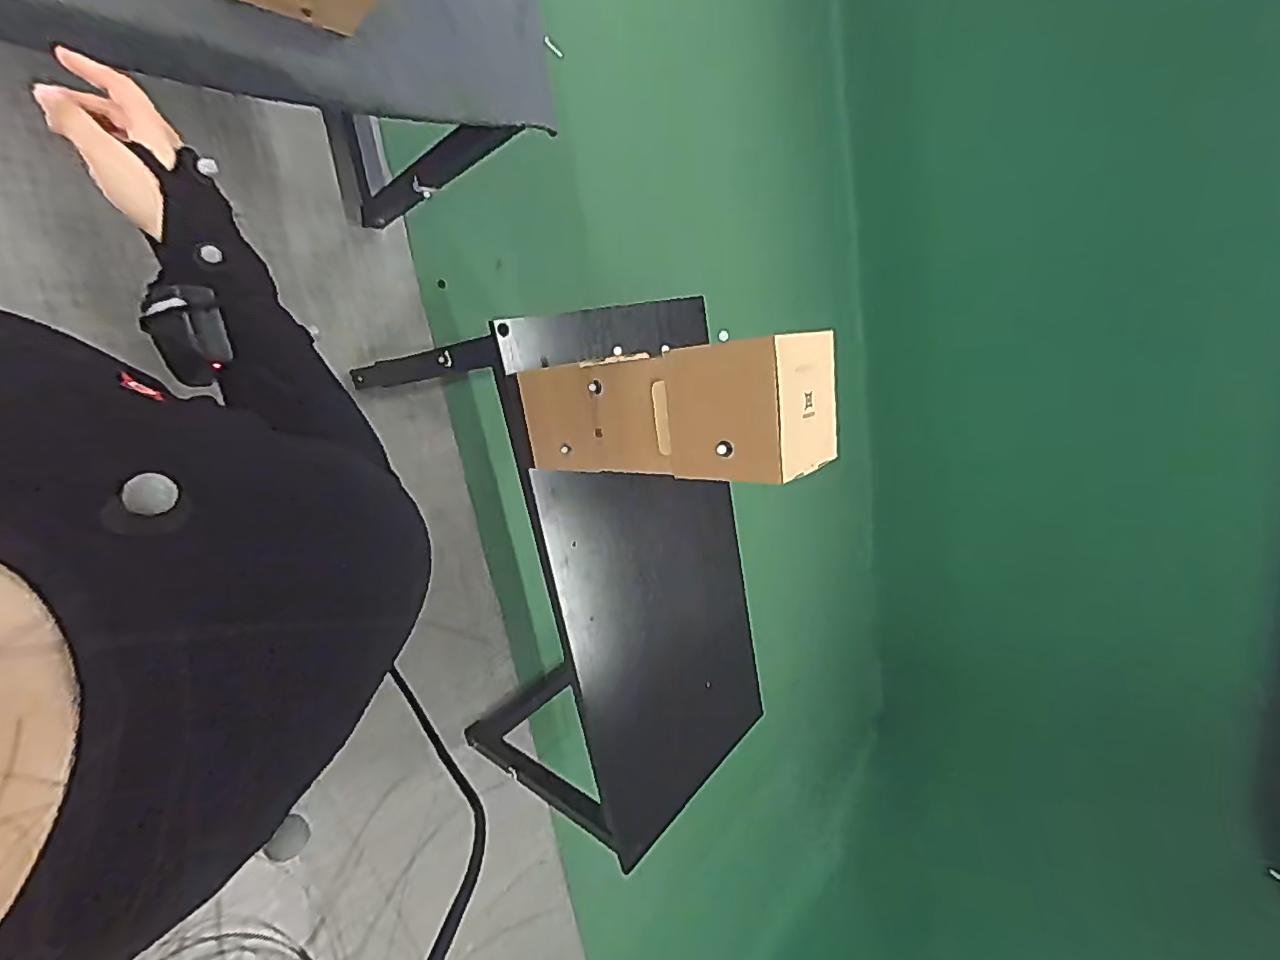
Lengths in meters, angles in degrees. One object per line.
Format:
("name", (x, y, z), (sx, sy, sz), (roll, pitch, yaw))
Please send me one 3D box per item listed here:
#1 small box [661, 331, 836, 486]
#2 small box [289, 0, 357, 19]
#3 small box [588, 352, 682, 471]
("small box", (0.146, -0.100, 0.725), (0.168, 0.176, 0.179), (-20, 108, -46))
("small box", (-0.394, -0.658, 0.583), (0.168, 0.176, 0.179), (-19, 106, -44))
("small box", (0.033, -0.112, 0.842), (0.179, 0.176, 0.168), (-20, 109, -45))
